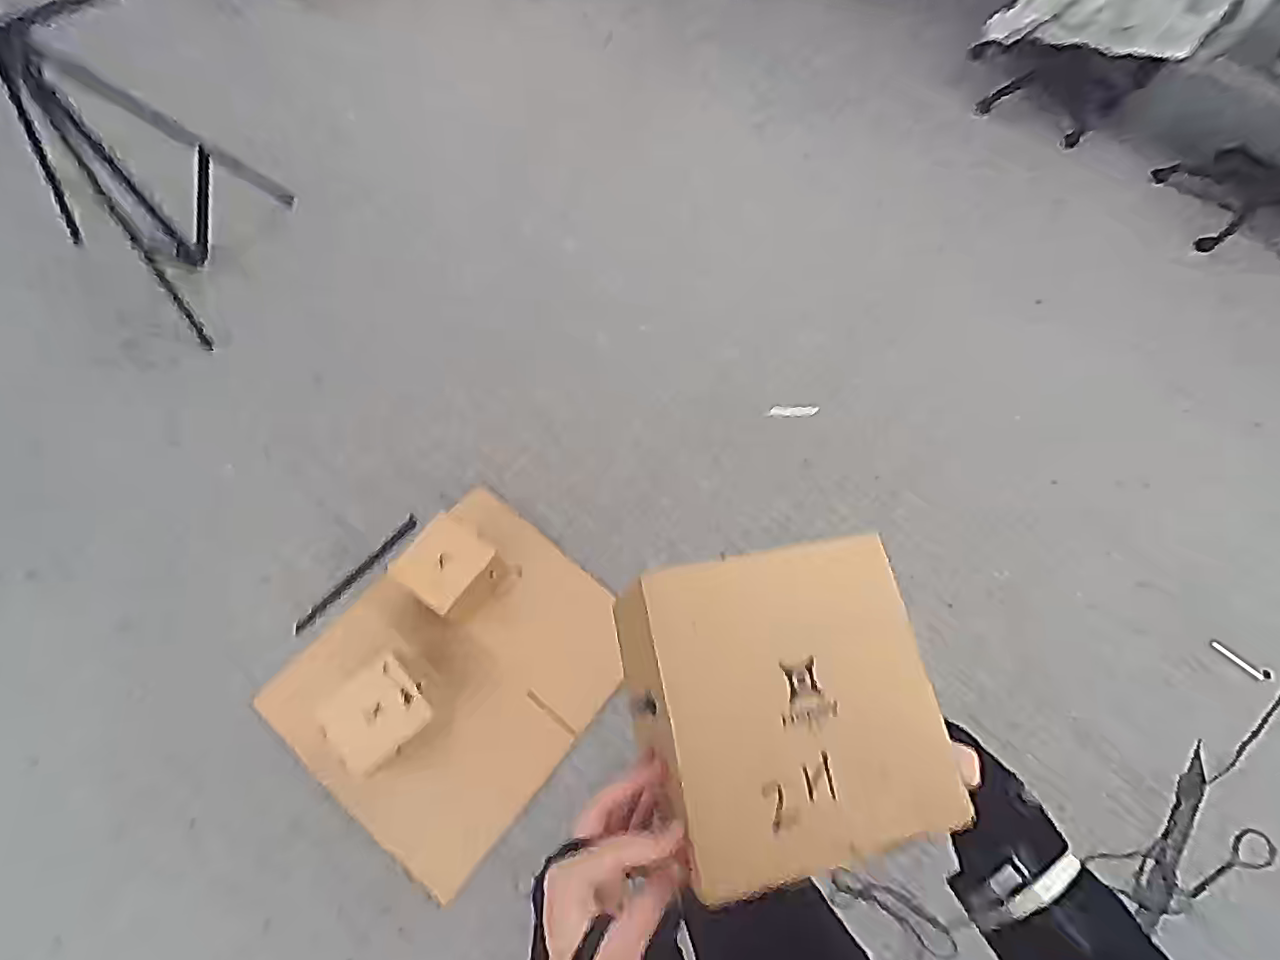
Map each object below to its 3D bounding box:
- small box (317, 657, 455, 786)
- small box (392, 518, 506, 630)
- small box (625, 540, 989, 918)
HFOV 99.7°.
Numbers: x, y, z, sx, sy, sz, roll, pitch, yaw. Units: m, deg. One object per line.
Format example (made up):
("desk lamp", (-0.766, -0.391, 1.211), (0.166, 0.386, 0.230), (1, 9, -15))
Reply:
("small box", (-0.520, 0.498, 1.132), (0.179, 0.176, 0.168), (-39, 76, -17))
("small box", (-0.431, 0.223, 1.259), (0.168, 0.176, 0.179), (33, 68, 10))
("small box", (0.090, 0.156, 0.387), (0.168, 0.176, 0.179), (-9, 73, -11))
